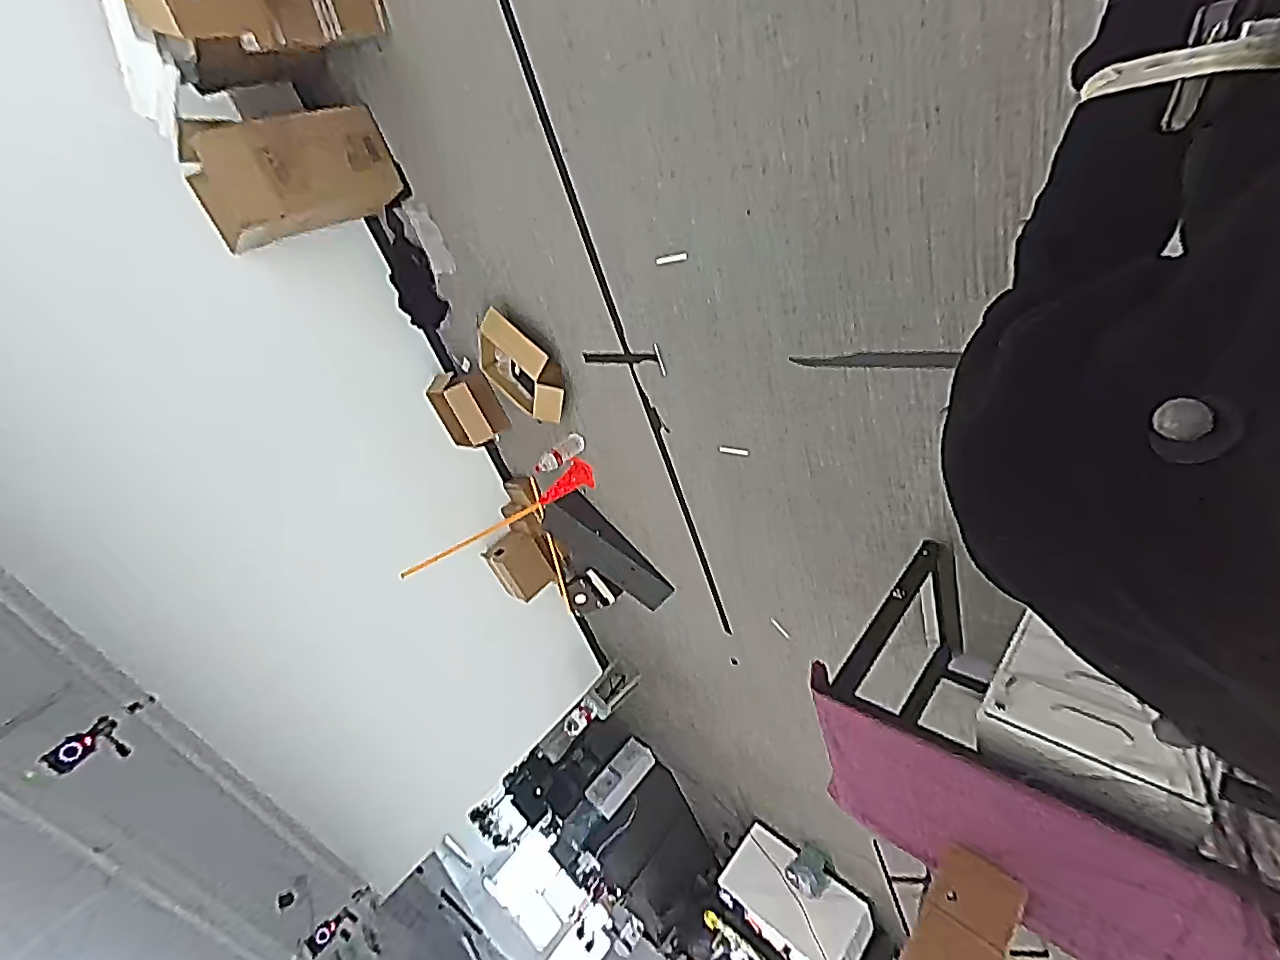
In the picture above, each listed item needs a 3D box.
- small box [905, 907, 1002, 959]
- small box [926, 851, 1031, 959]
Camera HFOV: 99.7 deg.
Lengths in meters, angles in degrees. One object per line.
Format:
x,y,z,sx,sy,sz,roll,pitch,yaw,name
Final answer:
0.725,1.158,1.259,0.179,0.176,0.168,17,134,43,small box
0.835,1.069,1.342,0.179,0.176,0.168,16,135,44,small box
